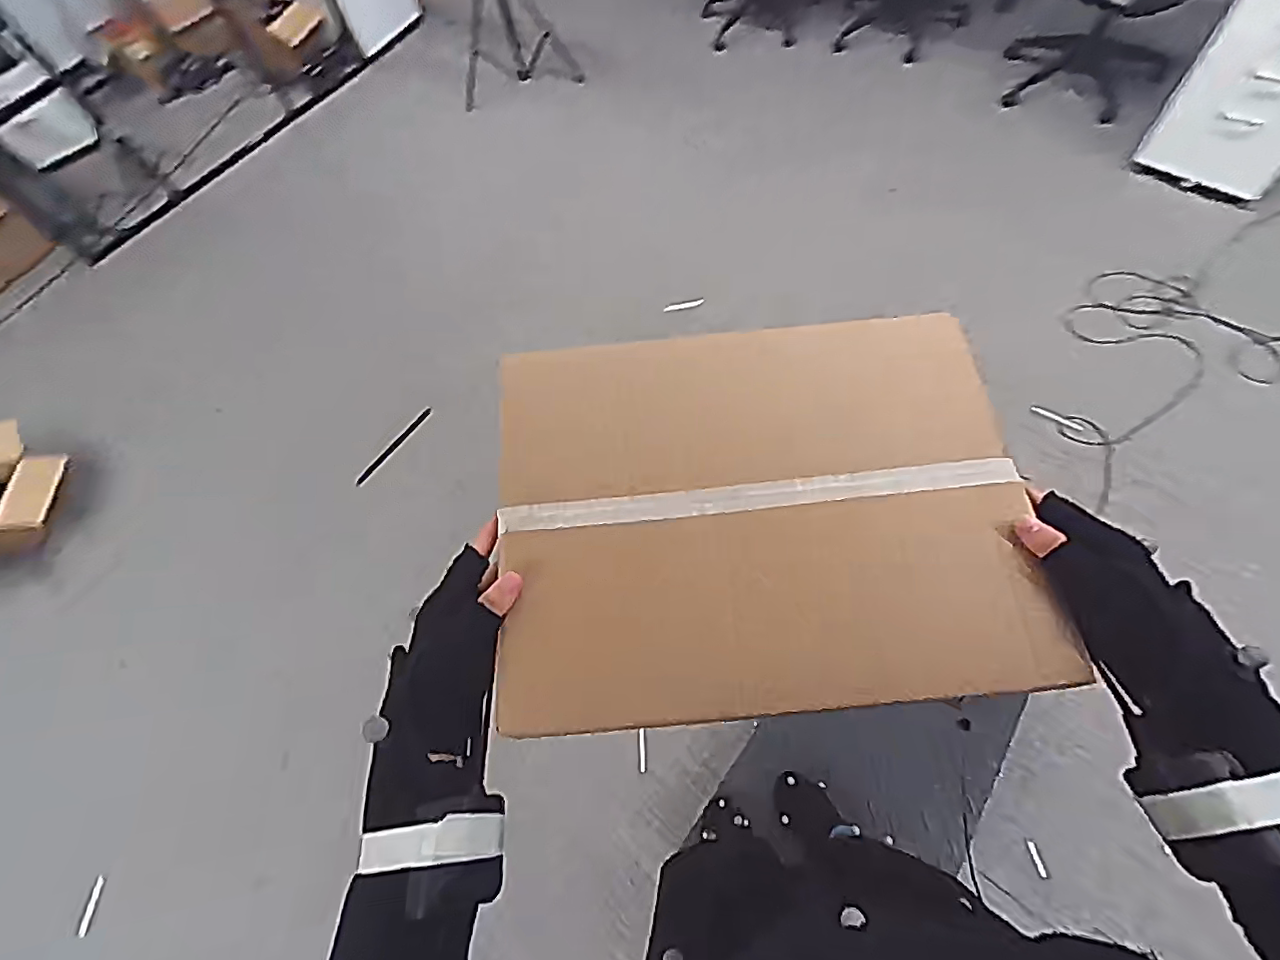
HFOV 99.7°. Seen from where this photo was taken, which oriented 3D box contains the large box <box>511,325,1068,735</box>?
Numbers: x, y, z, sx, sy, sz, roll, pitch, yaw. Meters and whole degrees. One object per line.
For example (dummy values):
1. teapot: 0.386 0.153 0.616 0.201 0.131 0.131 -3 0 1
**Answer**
1. large box: 0.103 0.074 0.574 0.408 0.320 0.320 -5 67 1
